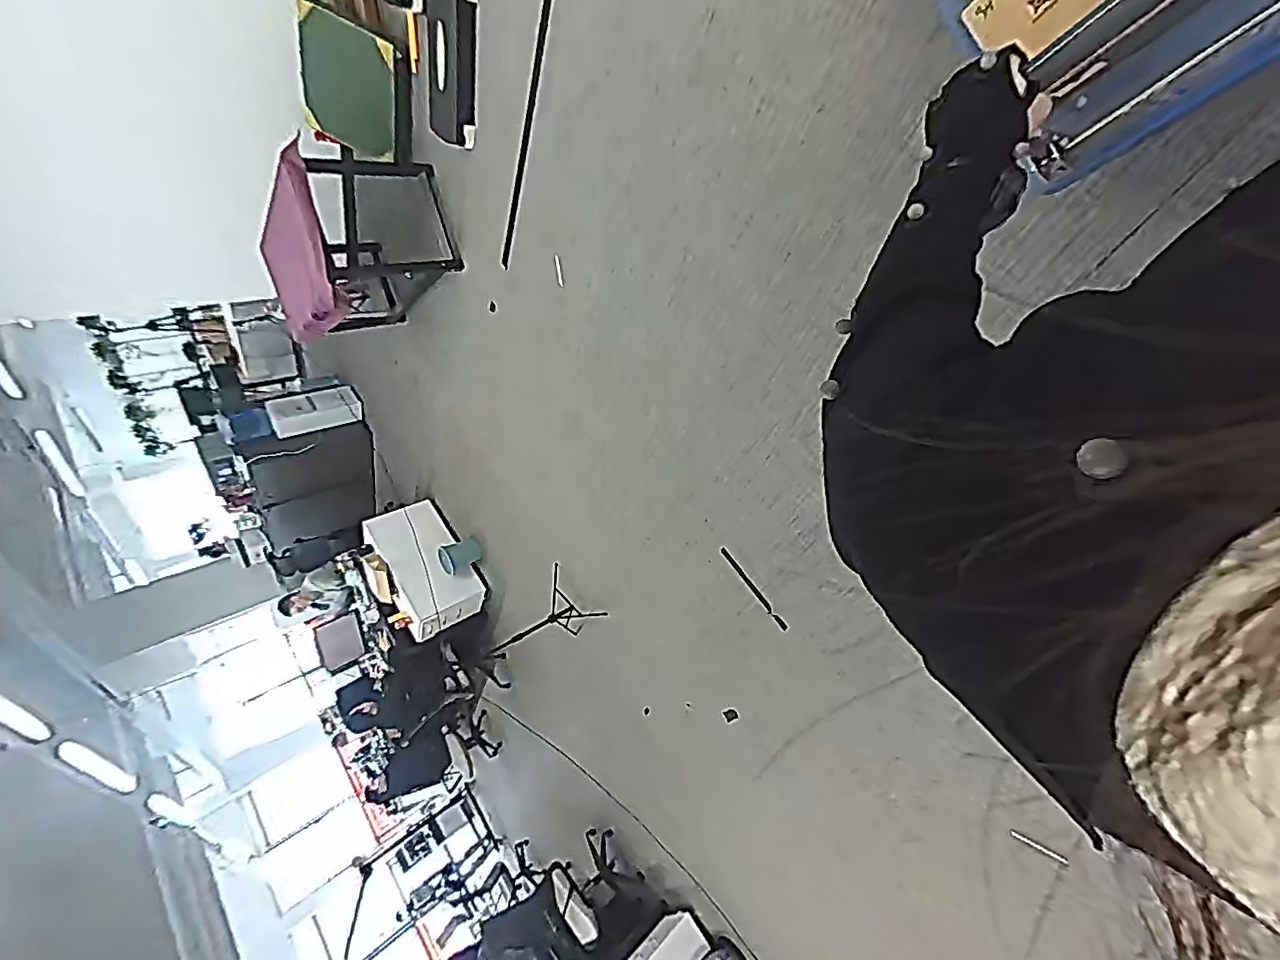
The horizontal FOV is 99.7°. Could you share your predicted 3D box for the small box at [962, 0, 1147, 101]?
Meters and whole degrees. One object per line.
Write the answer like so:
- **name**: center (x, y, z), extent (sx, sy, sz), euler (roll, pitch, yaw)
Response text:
- **small box**: center (0.664, -0.745, 0.865), extent (0.168, 0.176, 0.179), euler (-34, 82, 50)
